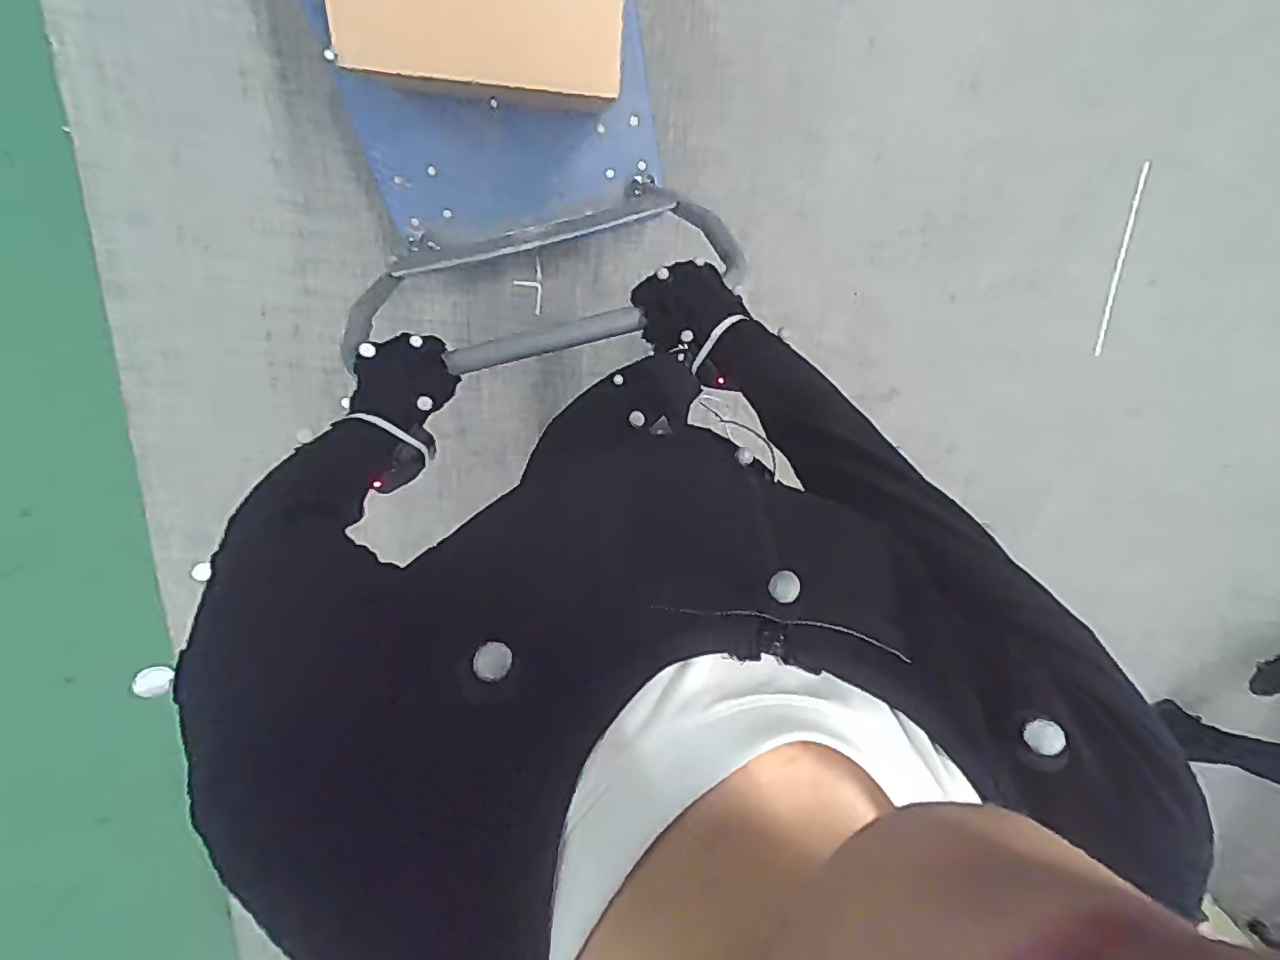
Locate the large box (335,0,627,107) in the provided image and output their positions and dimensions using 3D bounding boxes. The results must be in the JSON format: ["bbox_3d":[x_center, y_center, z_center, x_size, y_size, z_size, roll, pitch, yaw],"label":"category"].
[{"bbox_3d":[-0.229,-0.790,0.848,0.408,0.320,0.320,0,120,-8],"label":"large box"}]
